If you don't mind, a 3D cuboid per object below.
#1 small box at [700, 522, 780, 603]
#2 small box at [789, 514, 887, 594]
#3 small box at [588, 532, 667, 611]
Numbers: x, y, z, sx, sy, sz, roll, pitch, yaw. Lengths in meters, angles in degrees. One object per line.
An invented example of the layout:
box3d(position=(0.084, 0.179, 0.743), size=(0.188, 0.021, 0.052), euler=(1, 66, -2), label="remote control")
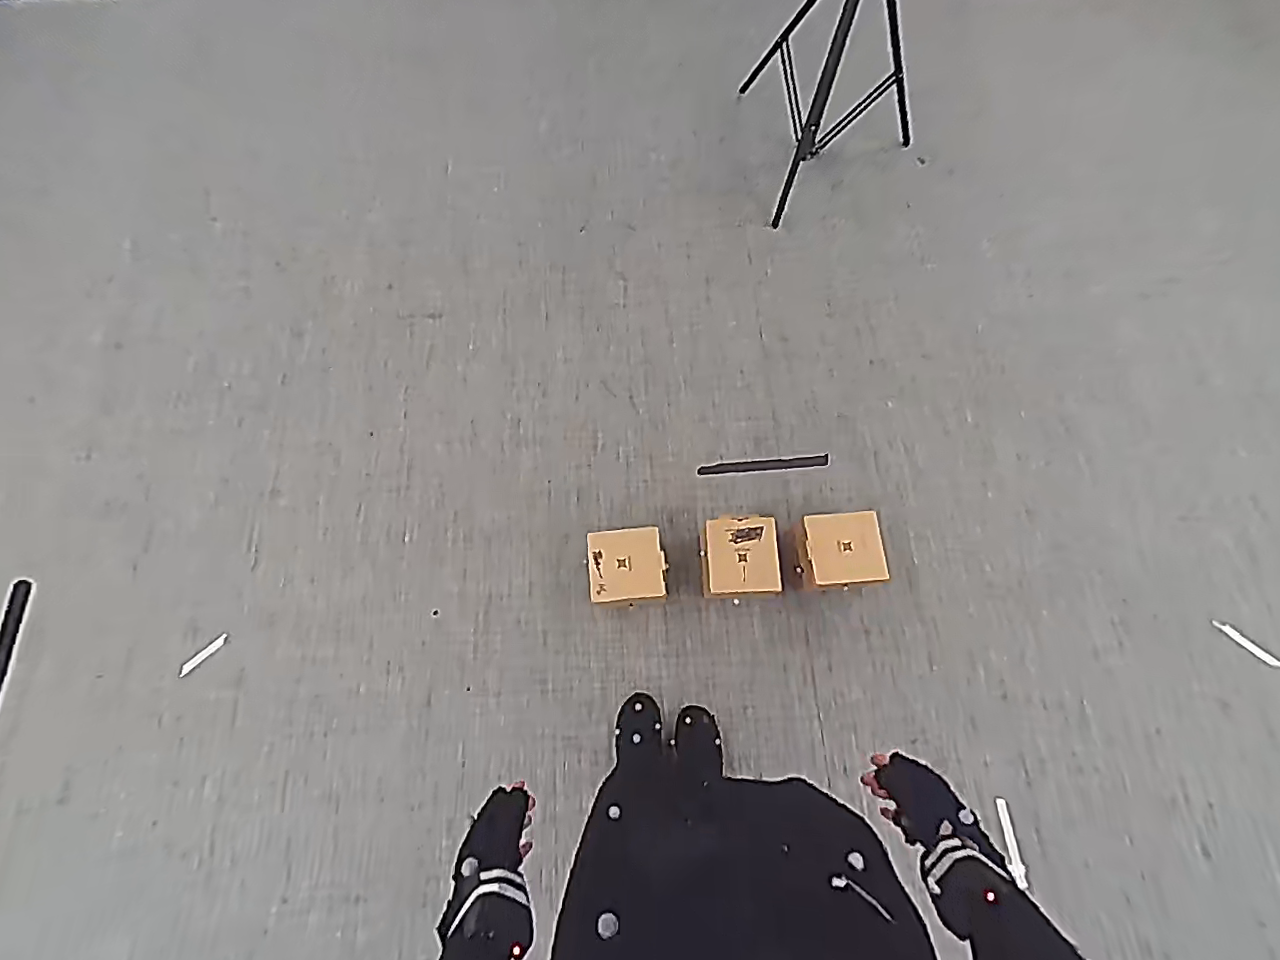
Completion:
box3d(position=(0.241, 0.208, 1.339), size=(0.168, 0.176, 0.179), euler=(-2, 73, 1), label="small box")
box3d(position=(0.479, 0.189, 1.342), size=(0.179, 0.176, 0.168), euler=(-5, 73, -1), label="small box")
box3d(position=(-0.032, 0.231, 1.340), size=(0.179, 0.176, 0.168), euler=(-5, 72, -1), label="small box")
